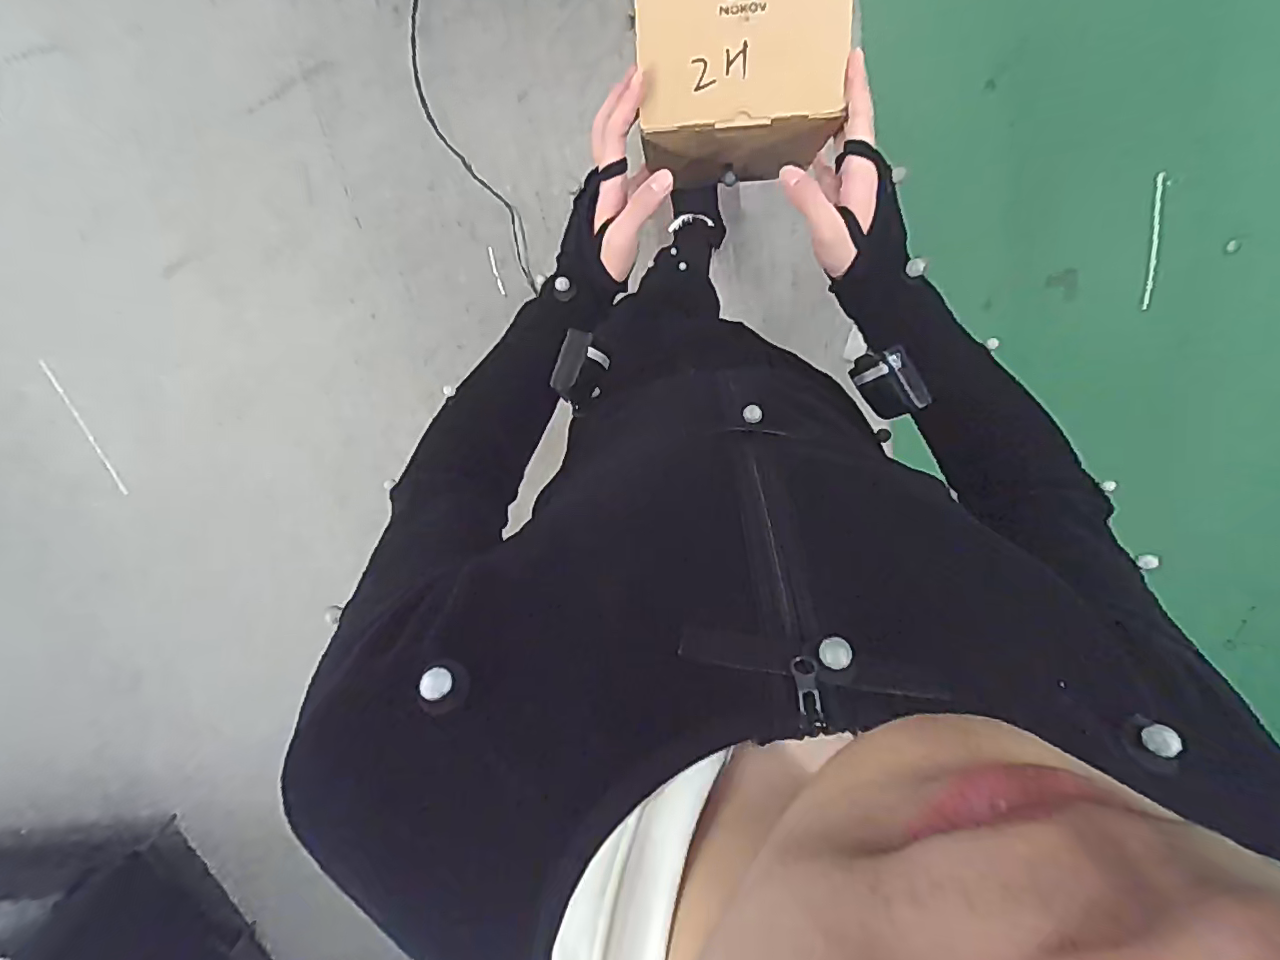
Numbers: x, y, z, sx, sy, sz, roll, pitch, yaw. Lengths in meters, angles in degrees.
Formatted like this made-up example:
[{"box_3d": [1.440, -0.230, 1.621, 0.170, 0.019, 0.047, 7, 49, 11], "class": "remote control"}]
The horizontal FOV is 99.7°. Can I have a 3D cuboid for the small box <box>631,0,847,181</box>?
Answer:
[{"box_3d": [0.080, -0.392, 0.484, 0.168, 0.176, 0.179, -1, 103, 5], "class": "small box"}]
